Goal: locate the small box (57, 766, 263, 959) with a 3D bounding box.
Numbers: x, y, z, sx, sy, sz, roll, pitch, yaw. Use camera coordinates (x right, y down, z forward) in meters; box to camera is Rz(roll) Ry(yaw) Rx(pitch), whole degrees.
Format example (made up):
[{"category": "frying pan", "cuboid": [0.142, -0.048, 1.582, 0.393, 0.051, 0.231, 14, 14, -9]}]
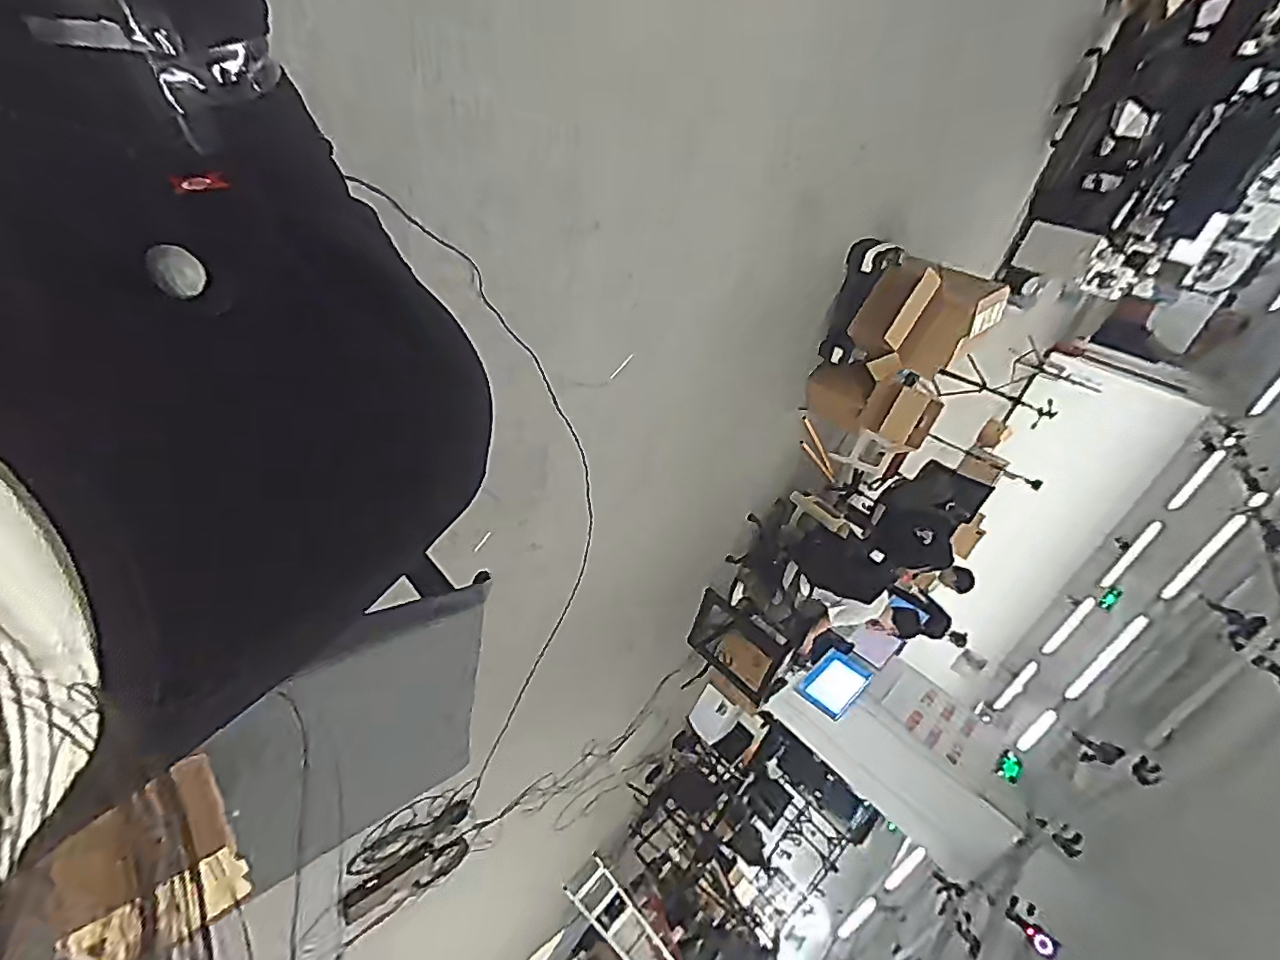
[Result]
[{"category": "small box", "cuboid": [-0.688, 0.563, 0.784, 0.179, 0.176, 0.168, -22, 137, -38]}]
